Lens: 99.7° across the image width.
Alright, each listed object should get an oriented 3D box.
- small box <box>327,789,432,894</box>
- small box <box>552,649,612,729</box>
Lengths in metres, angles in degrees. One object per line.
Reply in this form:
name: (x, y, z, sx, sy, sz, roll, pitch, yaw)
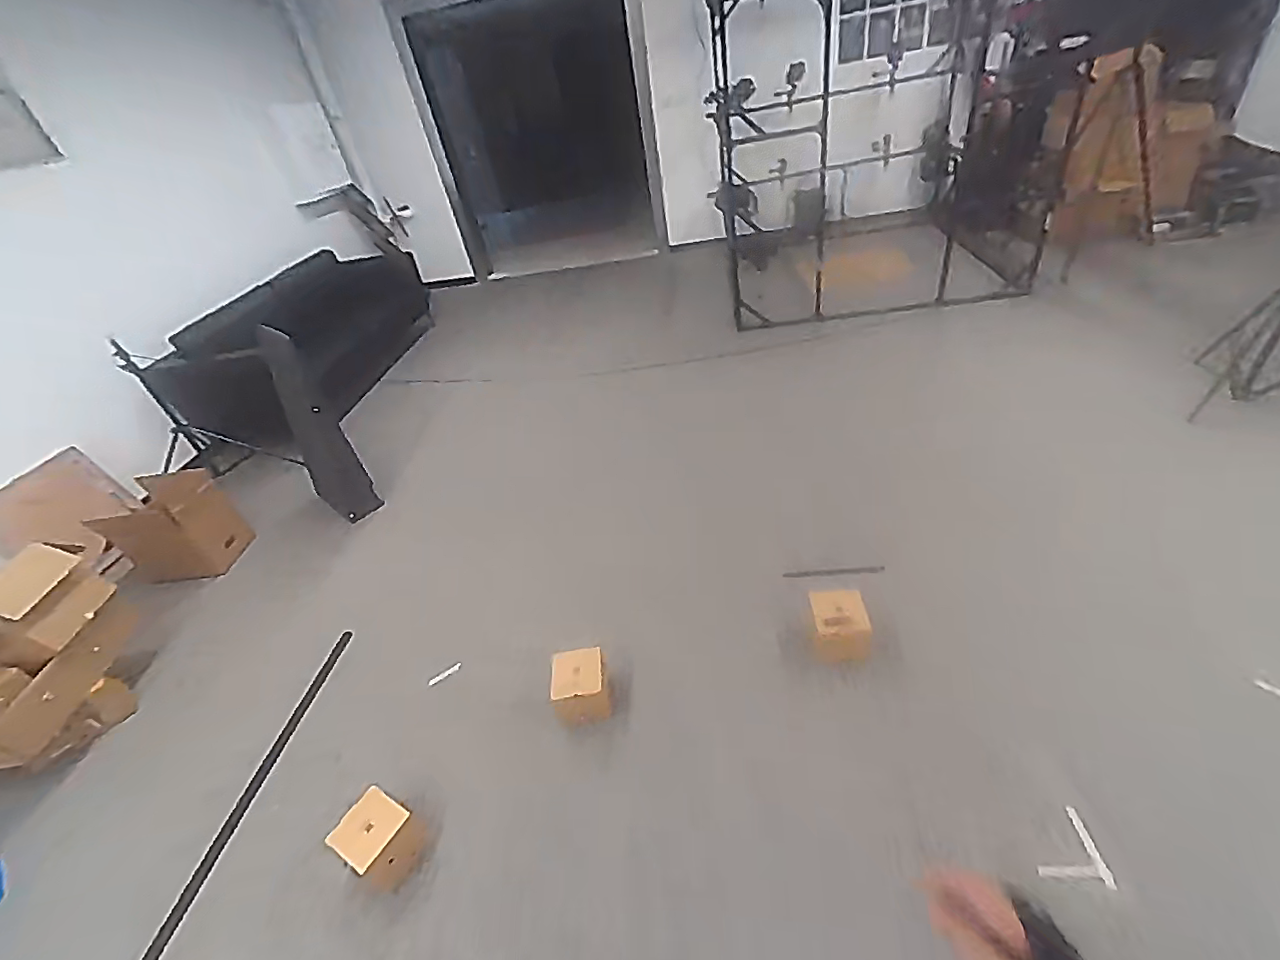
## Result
small box: (-0.724, 1.021, 1.521, 0.179, 0.176, 0.168, 13, 43, 30)
small box: (-0.191, 0.698, 1.805, 0.168, 0.176, 0.179, -10, 37, 1)
